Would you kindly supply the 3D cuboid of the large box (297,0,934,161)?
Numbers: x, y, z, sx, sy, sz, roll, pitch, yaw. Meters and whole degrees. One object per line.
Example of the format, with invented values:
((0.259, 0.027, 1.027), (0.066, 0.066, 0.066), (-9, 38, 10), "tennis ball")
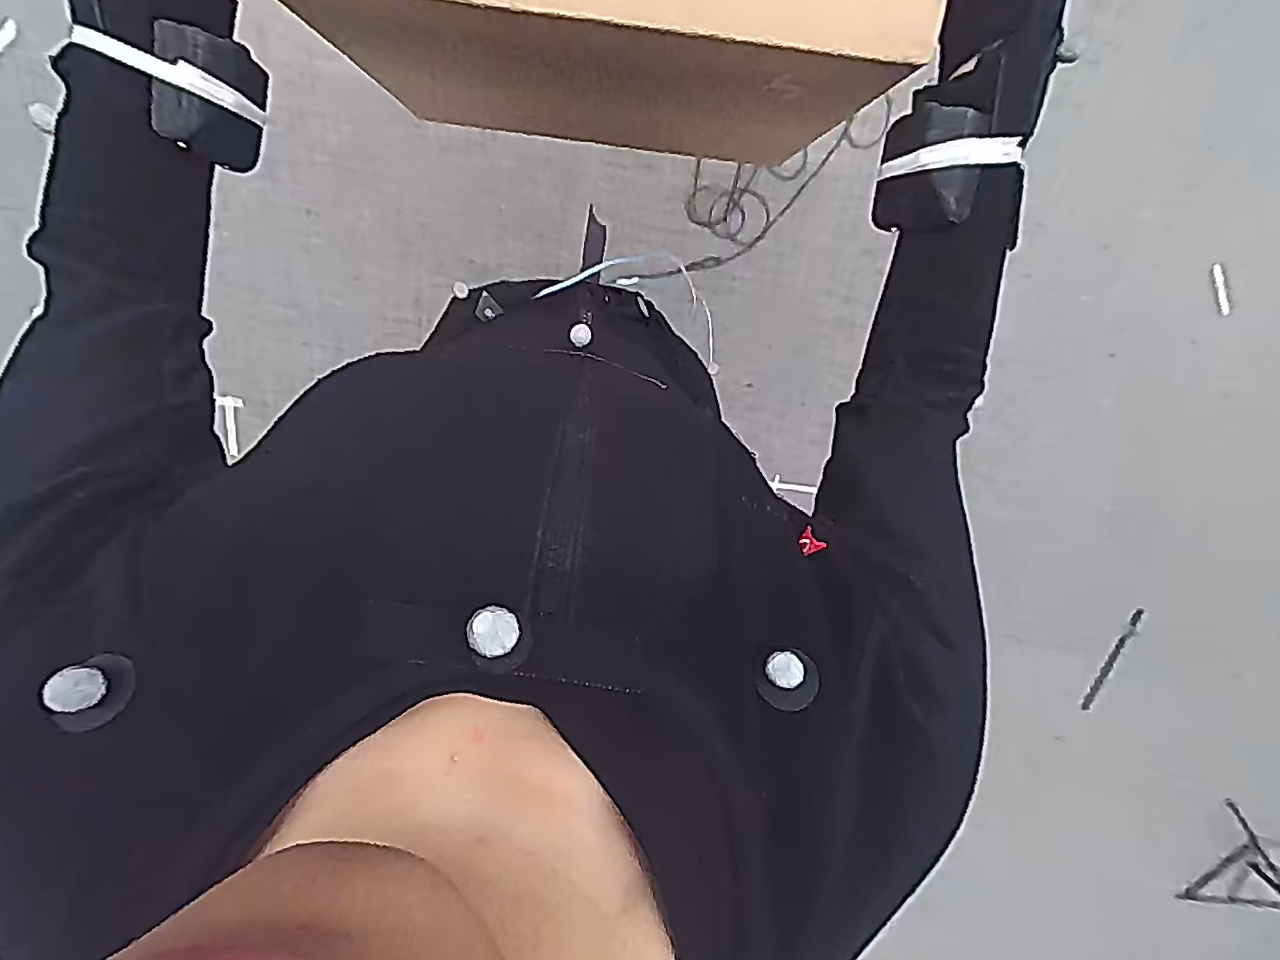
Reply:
((-0.018, -0.467, 0.411), (0.408, 0.320, 0.320), (4, 110, -5), "large box")
